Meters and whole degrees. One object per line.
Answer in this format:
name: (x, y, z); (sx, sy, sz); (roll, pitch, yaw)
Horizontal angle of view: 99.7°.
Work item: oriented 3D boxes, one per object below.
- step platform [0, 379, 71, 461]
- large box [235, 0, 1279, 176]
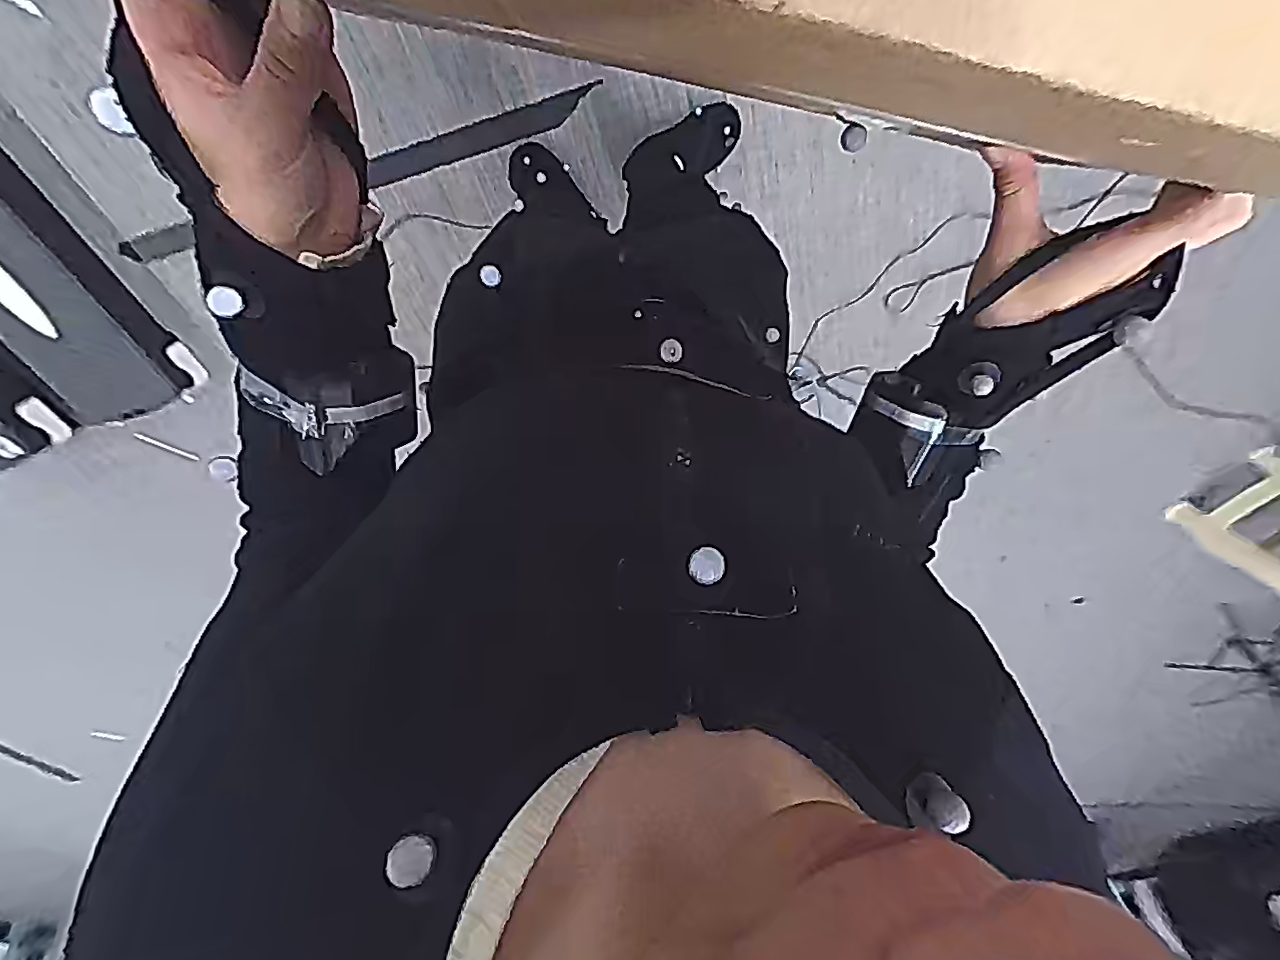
step platform: (-1.542, -0.320, 1.043); (0.286, 0.204, 0.684); (-11, 128, 2)
large box: (0.054, -0.287, 0.129); (0.408, 0.320, 0.320); (3, 127, -9)
